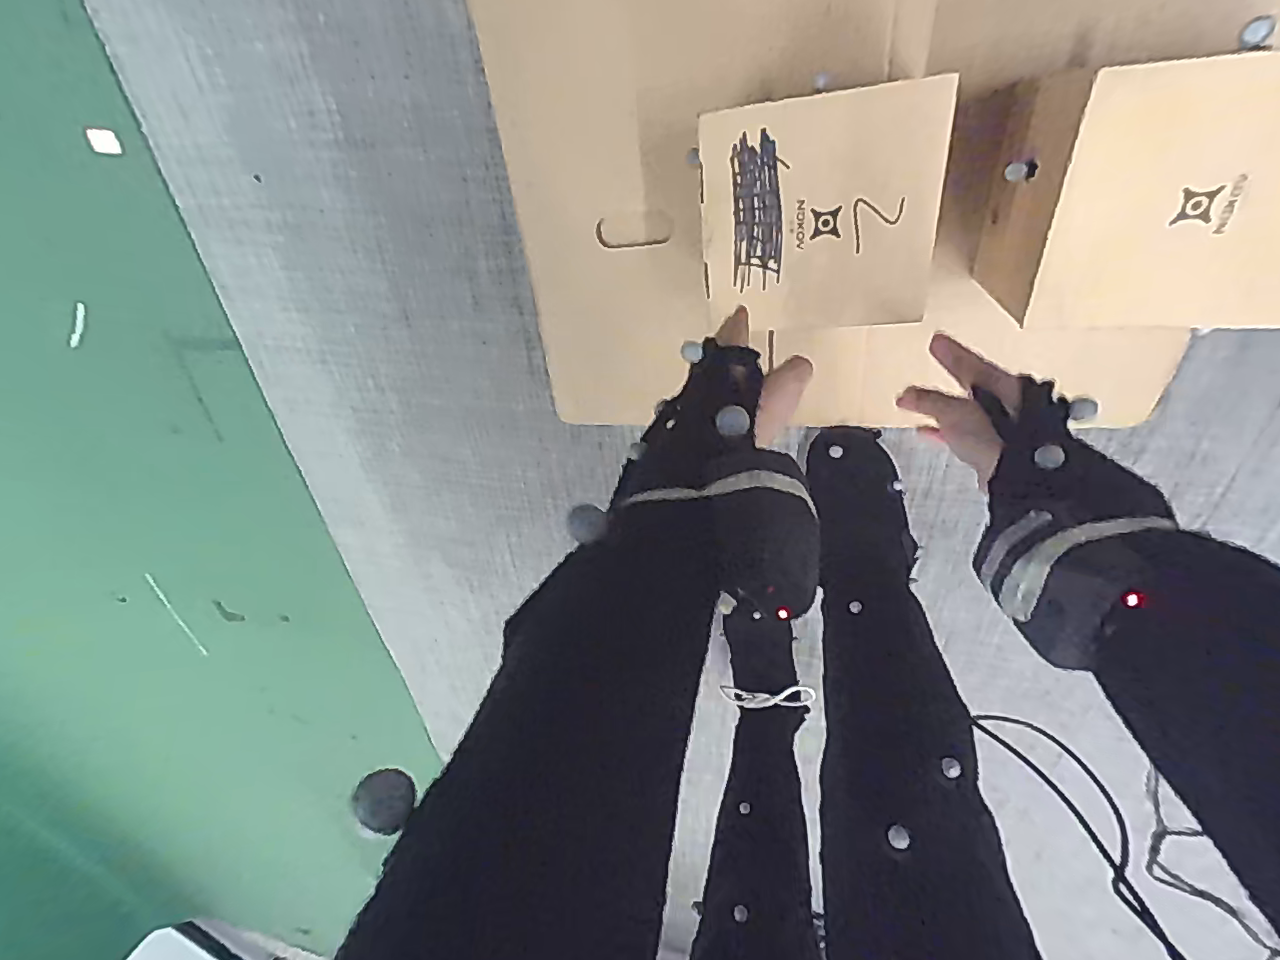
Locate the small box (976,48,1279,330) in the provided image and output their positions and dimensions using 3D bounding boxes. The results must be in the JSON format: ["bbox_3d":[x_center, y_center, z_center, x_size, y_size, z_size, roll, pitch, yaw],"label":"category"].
[{"bbox_3d":[0.391,-0.222,0.422,0.179,0.176,0.168,4,123,15],"label":"small box"}]
